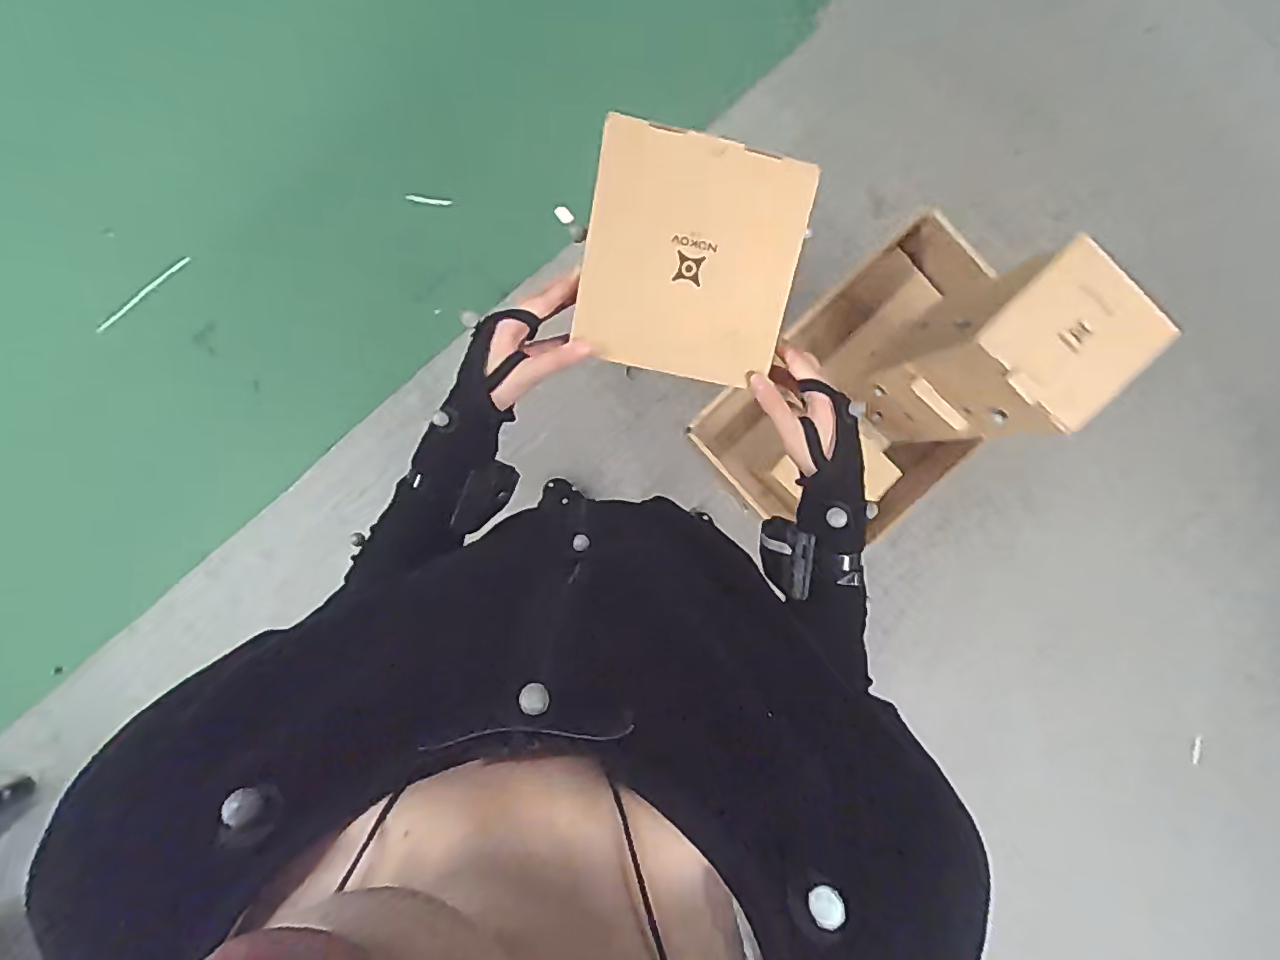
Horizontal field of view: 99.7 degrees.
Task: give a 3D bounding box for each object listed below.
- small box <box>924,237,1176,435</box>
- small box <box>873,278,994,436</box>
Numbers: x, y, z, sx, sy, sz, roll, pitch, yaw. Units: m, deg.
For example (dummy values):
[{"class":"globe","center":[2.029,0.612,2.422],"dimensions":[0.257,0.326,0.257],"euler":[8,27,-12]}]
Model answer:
[{"class":"small box","center":[0.514,-0.172,0.716],"dimensions":[0.179,0.176,0.168],"euler":[-44,92,2]},{"class":"small box","center":[0.511,-0.185,0.878],"dimensions":[0.168,0.176,0.179],"euler":[43,92,-1]}]
